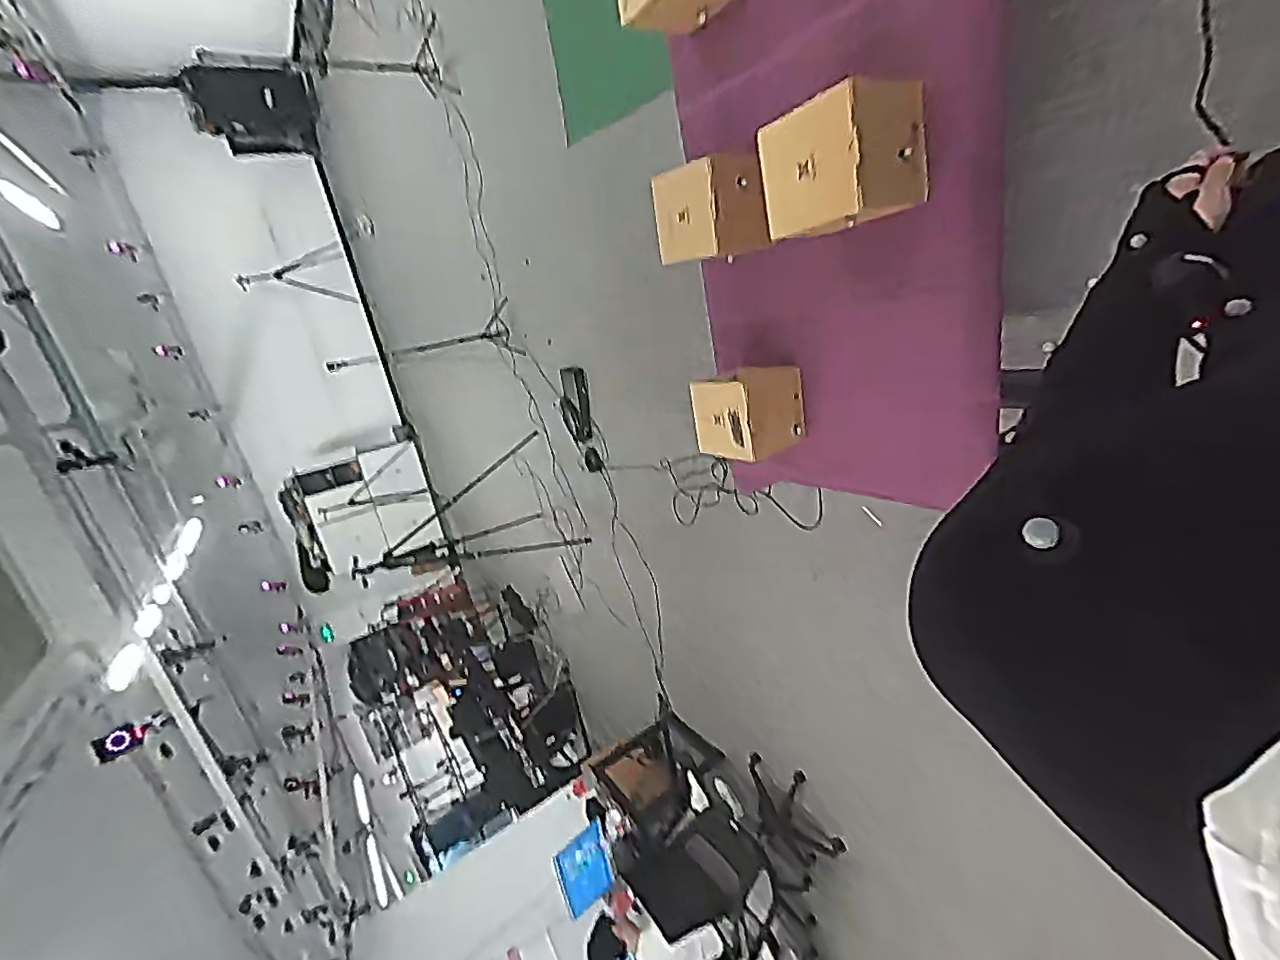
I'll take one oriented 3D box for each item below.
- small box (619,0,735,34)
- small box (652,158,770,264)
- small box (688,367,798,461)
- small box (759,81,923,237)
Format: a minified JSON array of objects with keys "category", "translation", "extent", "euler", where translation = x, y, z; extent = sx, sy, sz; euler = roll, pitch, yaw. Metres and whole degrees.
[{"category":"small box","translation":[0.070,-0.942,0.970],"extent":[0.179,0.176,0.168],"euler":[15,121,51]},{"category":"small box","translation":[0.150,-0.543,1.099],"extent":[0.179,0.176,0.168],"euler":[20,124,53]},{"category":"small box","translation":[0.236,-0.154,1.201],"extent":[0.179,0.176,0.168],"euler":[16,121,55]},{"category":"small box","translation":[0.317,-0.496,0.857],"extent":[0.179,0.176,0.168],"euler":[12,118,56]}]
